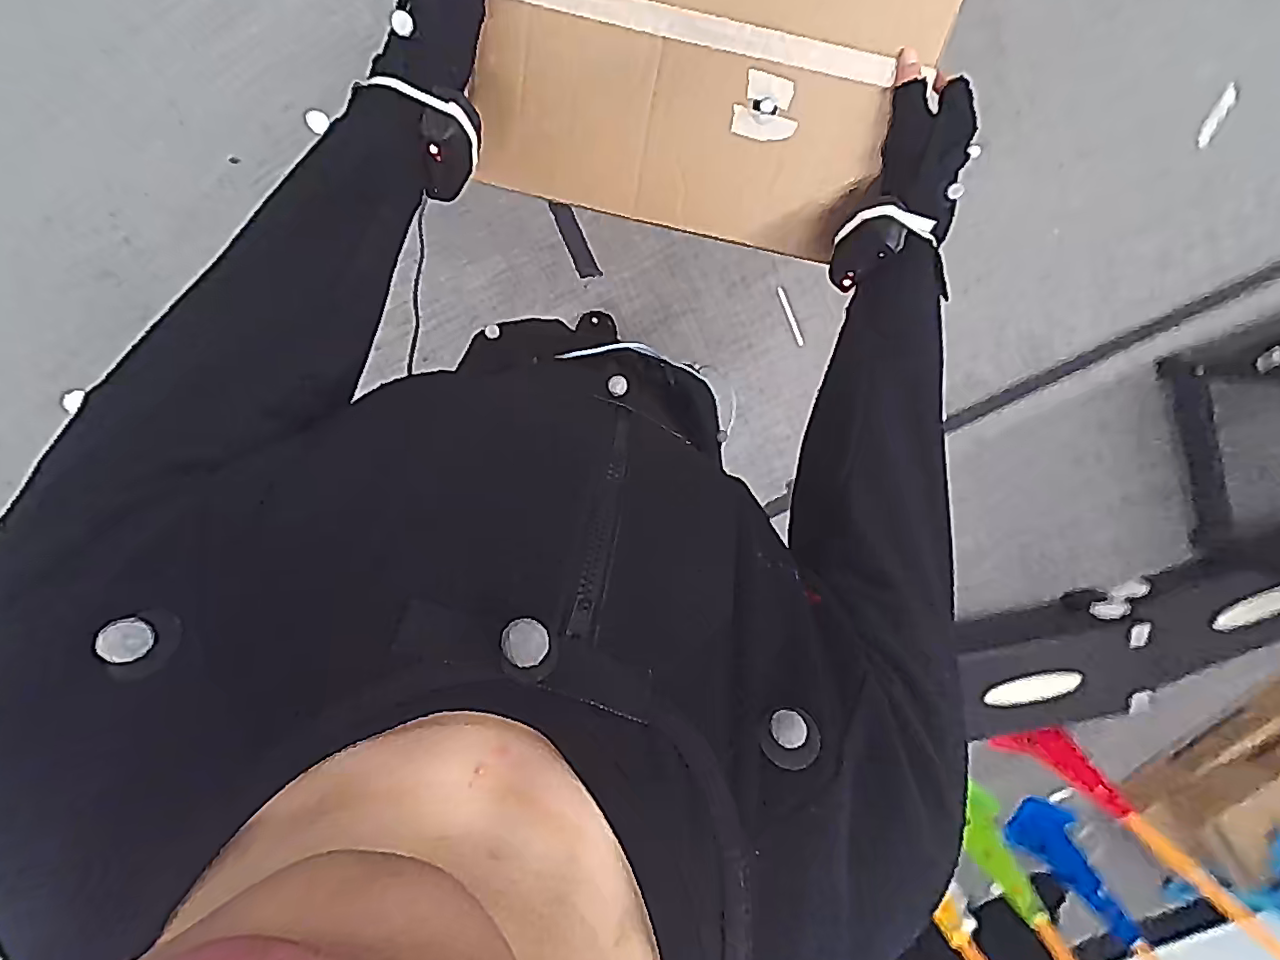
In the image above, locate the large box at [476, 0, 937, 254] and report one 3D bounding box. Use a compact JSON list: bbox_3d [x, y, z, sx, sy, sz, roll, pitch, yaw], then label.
[{"bbox_3d":[0.056,-0.465,0.619,0.408,0.320,0.320,10,117,-3],"label":"large box"}]
